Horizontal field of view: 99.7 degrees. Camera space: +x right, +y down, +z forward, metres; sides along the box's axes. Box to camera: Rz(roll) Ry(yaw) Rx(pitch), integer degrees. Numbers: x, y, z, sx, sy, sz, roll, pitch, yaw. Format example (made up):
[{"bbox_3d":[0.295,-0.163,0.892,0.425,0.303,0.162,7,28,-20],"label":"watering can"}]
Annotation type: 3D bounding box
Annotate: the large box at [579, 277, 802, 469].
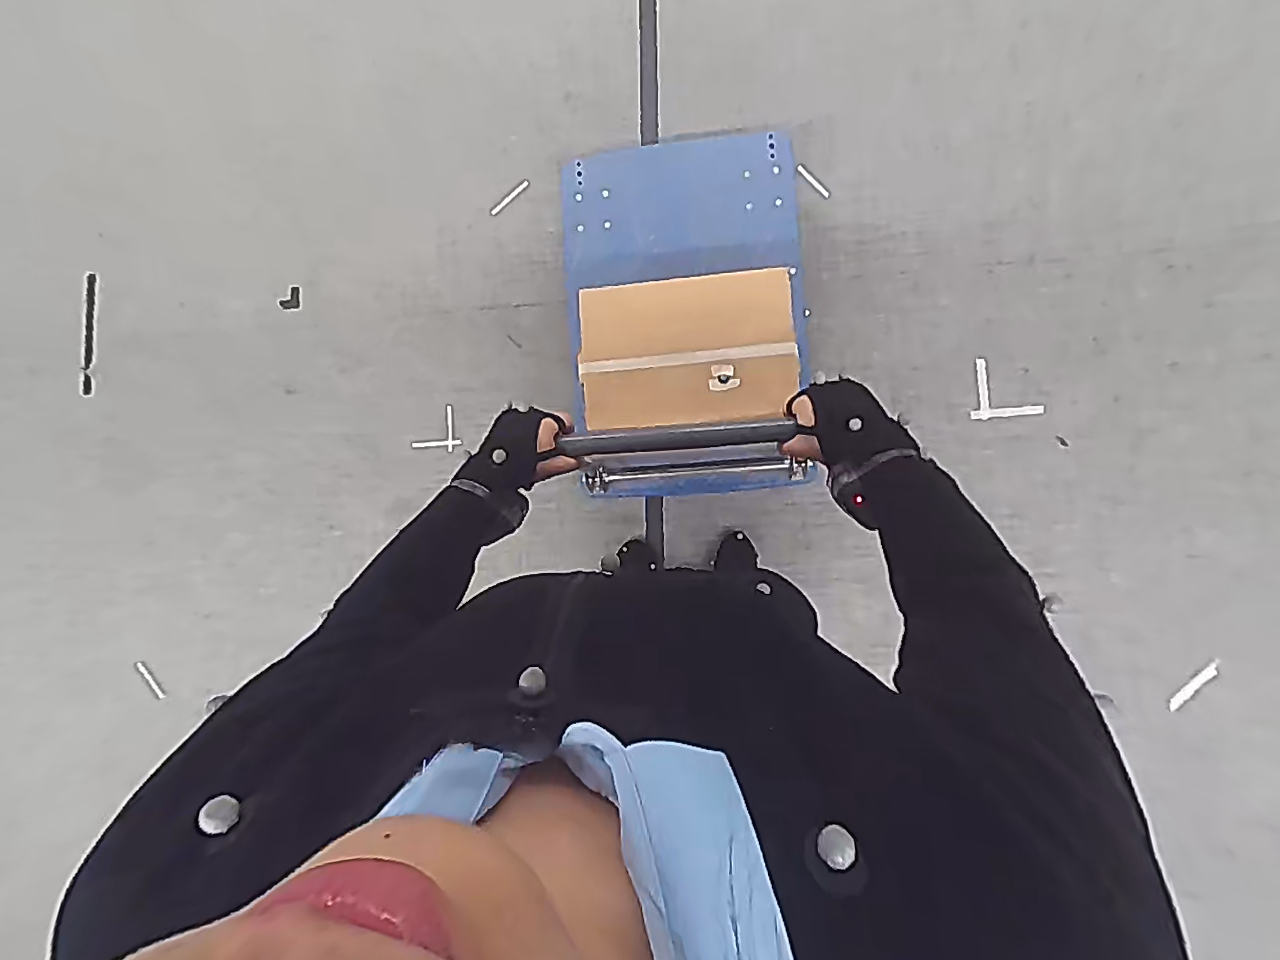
[{"bbox_3d":[0.104,-0.202,1.161,0.408,0.320,0.320,-4,87,6],"label":"large box"}]
